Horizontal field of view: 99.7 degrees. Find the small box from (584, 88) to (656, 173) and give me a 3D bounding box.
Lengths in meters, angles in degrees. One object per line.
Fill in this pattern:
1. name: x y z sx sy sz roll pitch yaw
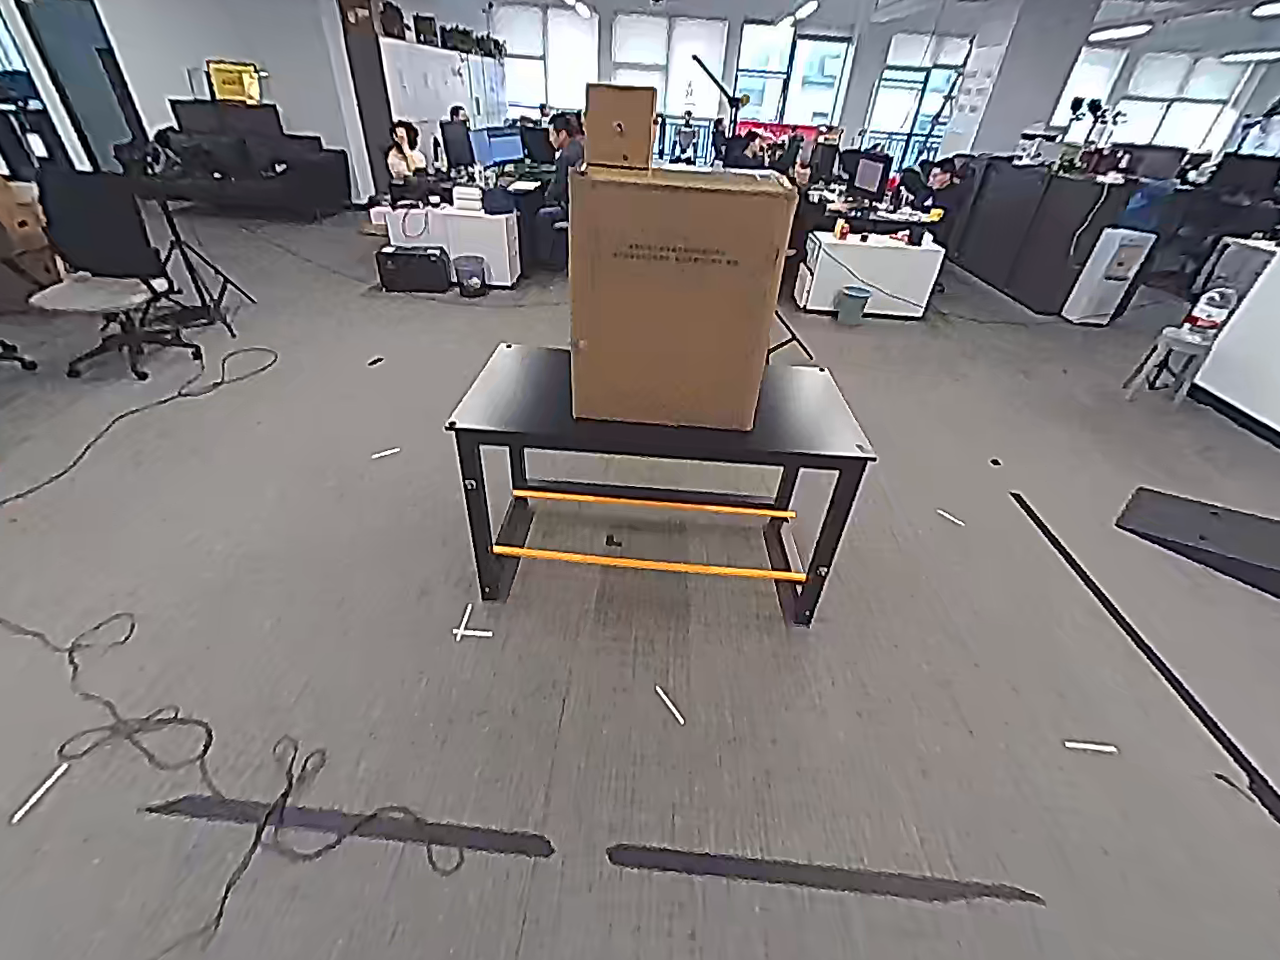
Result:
1. small box: -0.049 -0.885 1.371 0.168 0.176 0.179 5 35 0
